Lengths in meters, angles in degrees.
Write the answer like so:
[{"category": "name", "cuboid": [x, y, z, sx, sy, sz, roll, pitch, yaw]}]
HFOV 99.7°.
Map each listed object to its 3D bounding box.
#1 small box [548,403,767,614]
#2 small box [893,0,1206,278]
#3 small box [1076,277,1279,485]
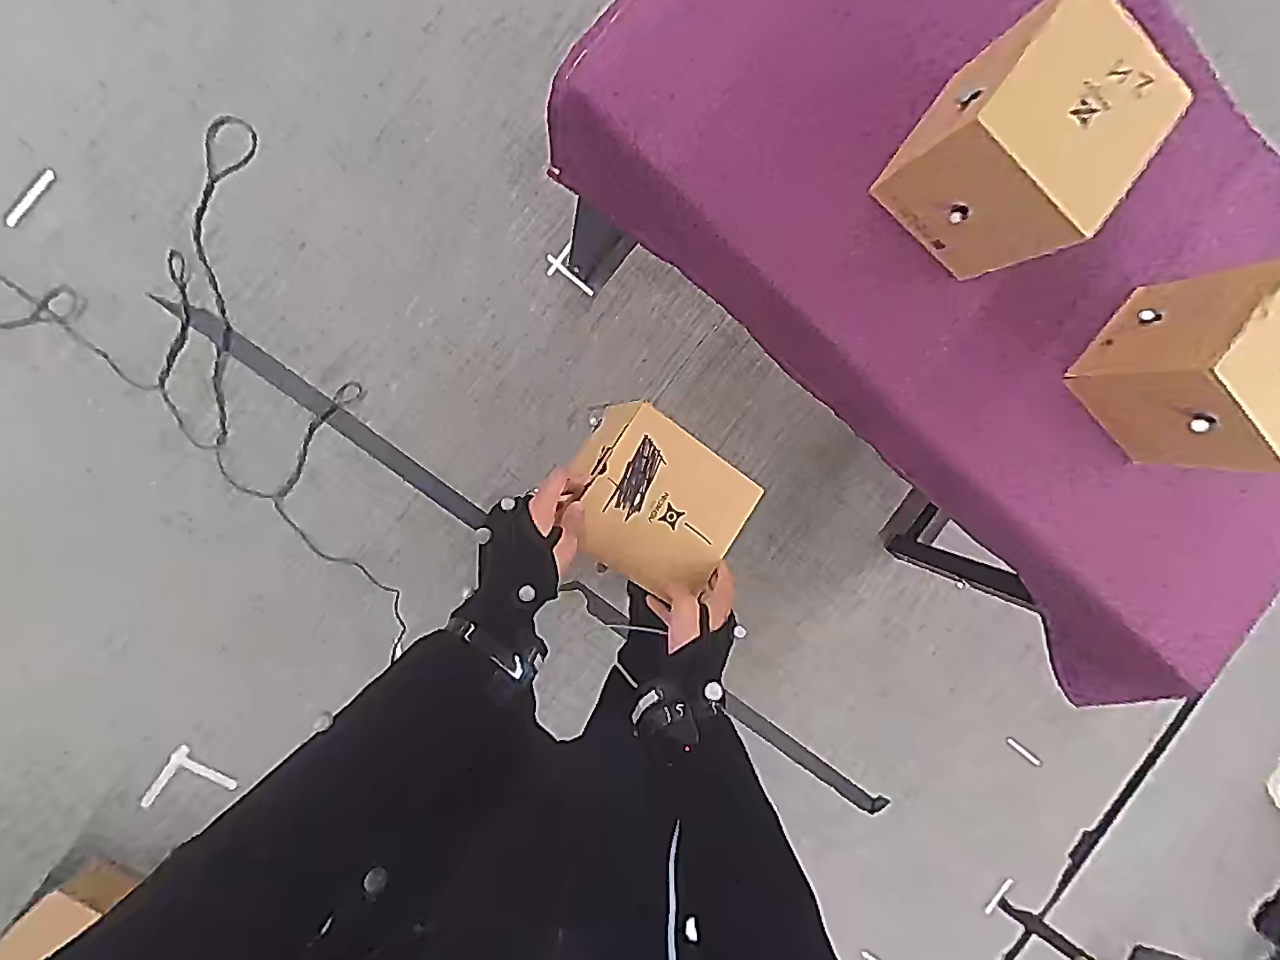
[{"category": "small box", "cuboid": [0.008, 0.027, 0.646, 0.179, 0.176, 0.168, 35, 86, -17]}, {"category": "small box", "cuboid": [0.405, -0.344, 0.569, 0.168, 0.176, 0.179, 37, 89, -12]}, {"category": "small box", "cuboid": [0.693, -0.119, 0.648, 0.179, 0.176, 0.168, 41, 89, -11]}]
